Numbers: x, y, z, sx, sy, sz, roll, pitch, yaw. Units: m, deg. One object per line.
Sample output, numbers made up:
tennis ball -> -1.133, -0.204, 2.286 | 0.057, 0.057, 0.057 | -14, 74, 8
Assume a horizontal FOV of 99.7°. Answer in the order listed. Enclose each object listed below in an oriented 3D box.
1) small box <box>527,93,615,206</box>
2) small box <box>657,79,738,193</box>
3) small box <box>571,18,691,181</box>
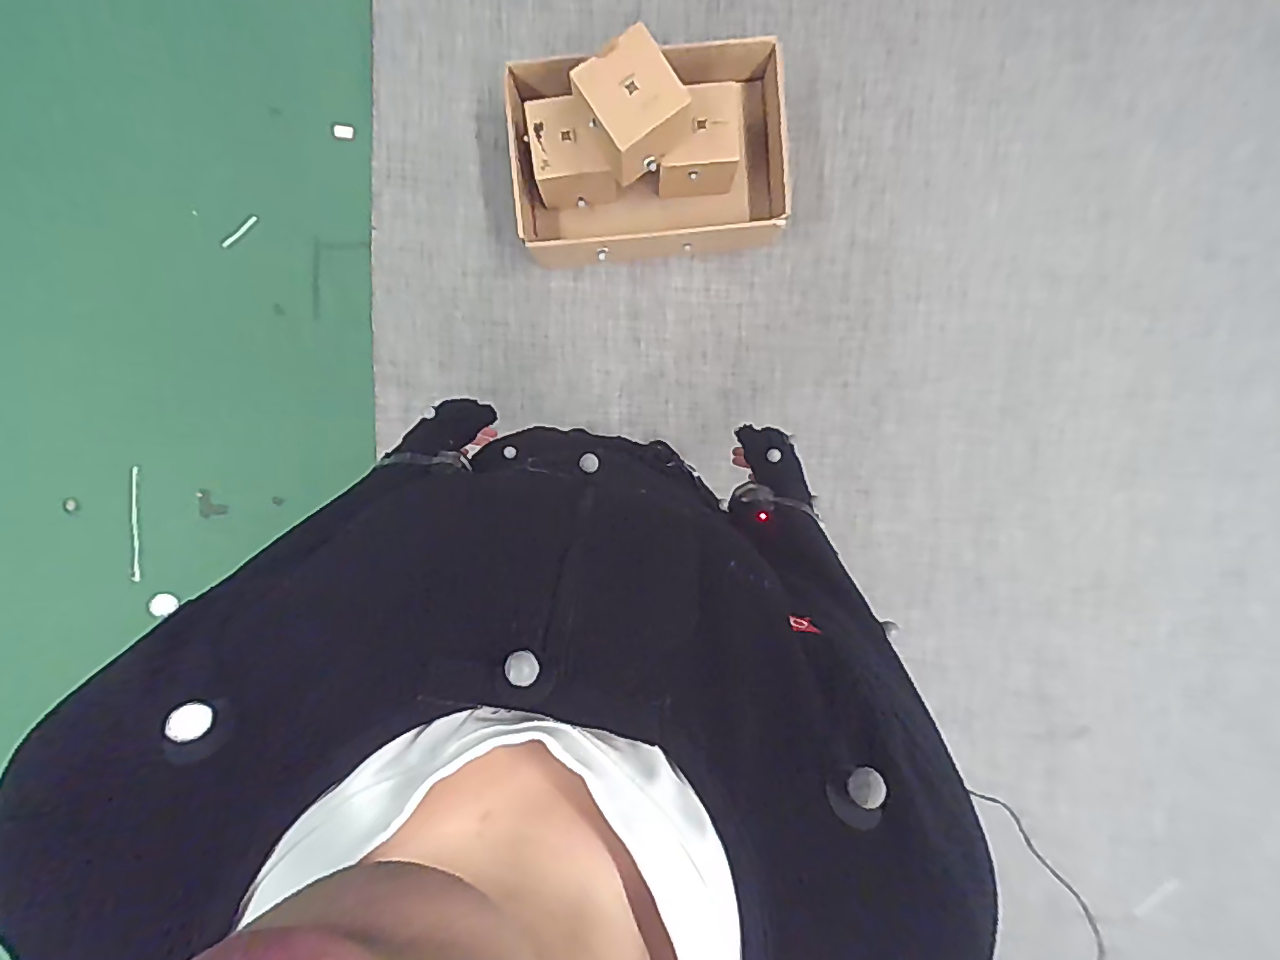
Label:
small box -> -0.155, -0.763, 1.258 | 0.179, 0.176, 0.168 | -8, 95, -1
small box -> 0.125, -0.787, 1.255 | 0.179, 0.176, 0.168 | -4, 96, 1
small box -> -0.019, -0.755, 1.097 | 0.168, 0.176, 0.179 | -35, 96, 4
